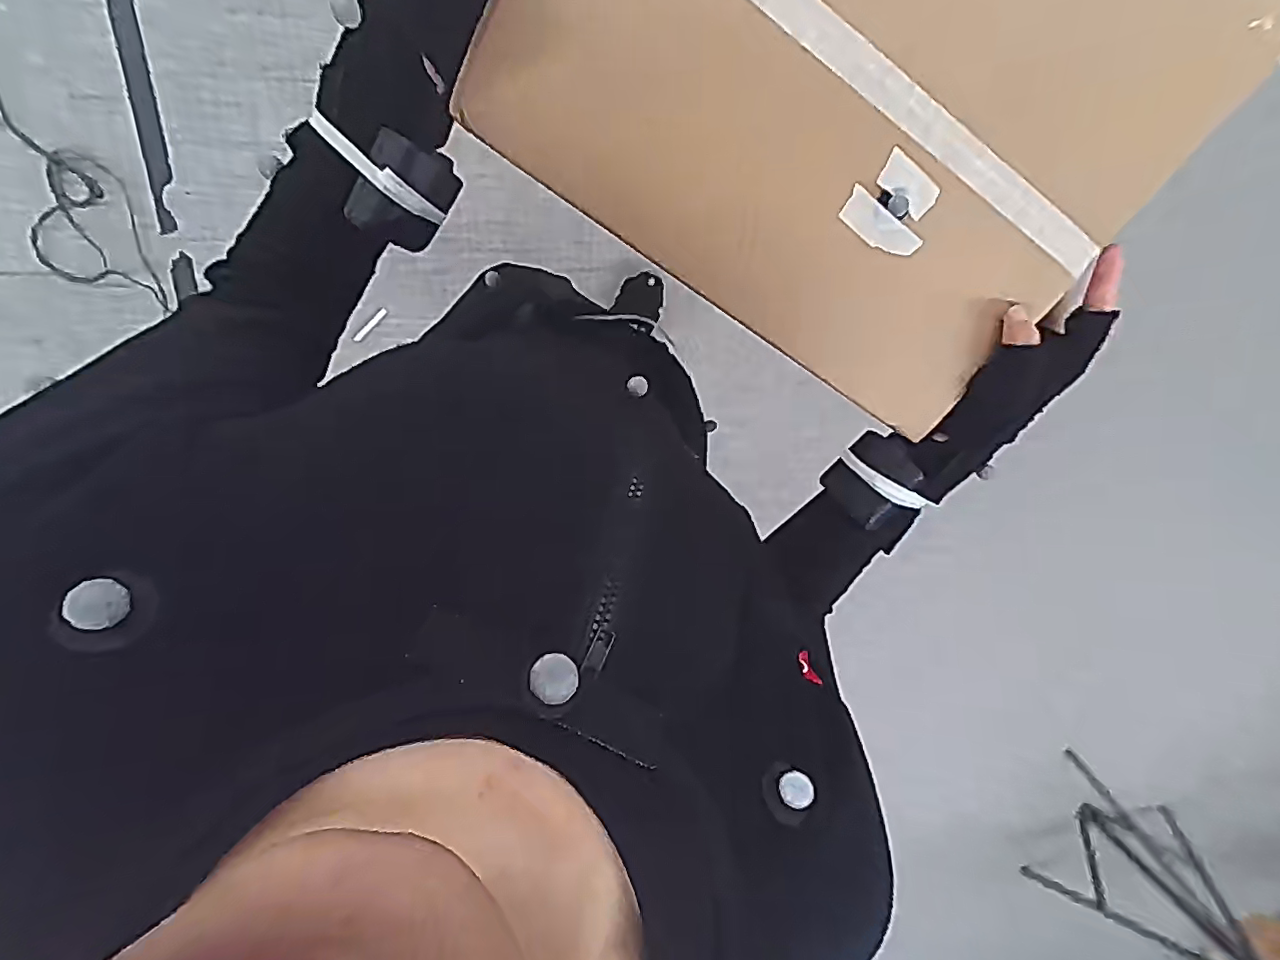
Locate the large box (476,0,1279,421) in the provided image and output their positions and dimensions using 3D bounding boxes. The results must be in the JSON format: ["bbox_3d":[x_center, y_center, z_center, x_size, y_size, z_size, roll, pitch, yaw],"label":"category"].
[{"bbox_3d":[0.139,-0.320,0.467,0.408,0.320,0.320,30,114,-14],"label":"large box"}]
